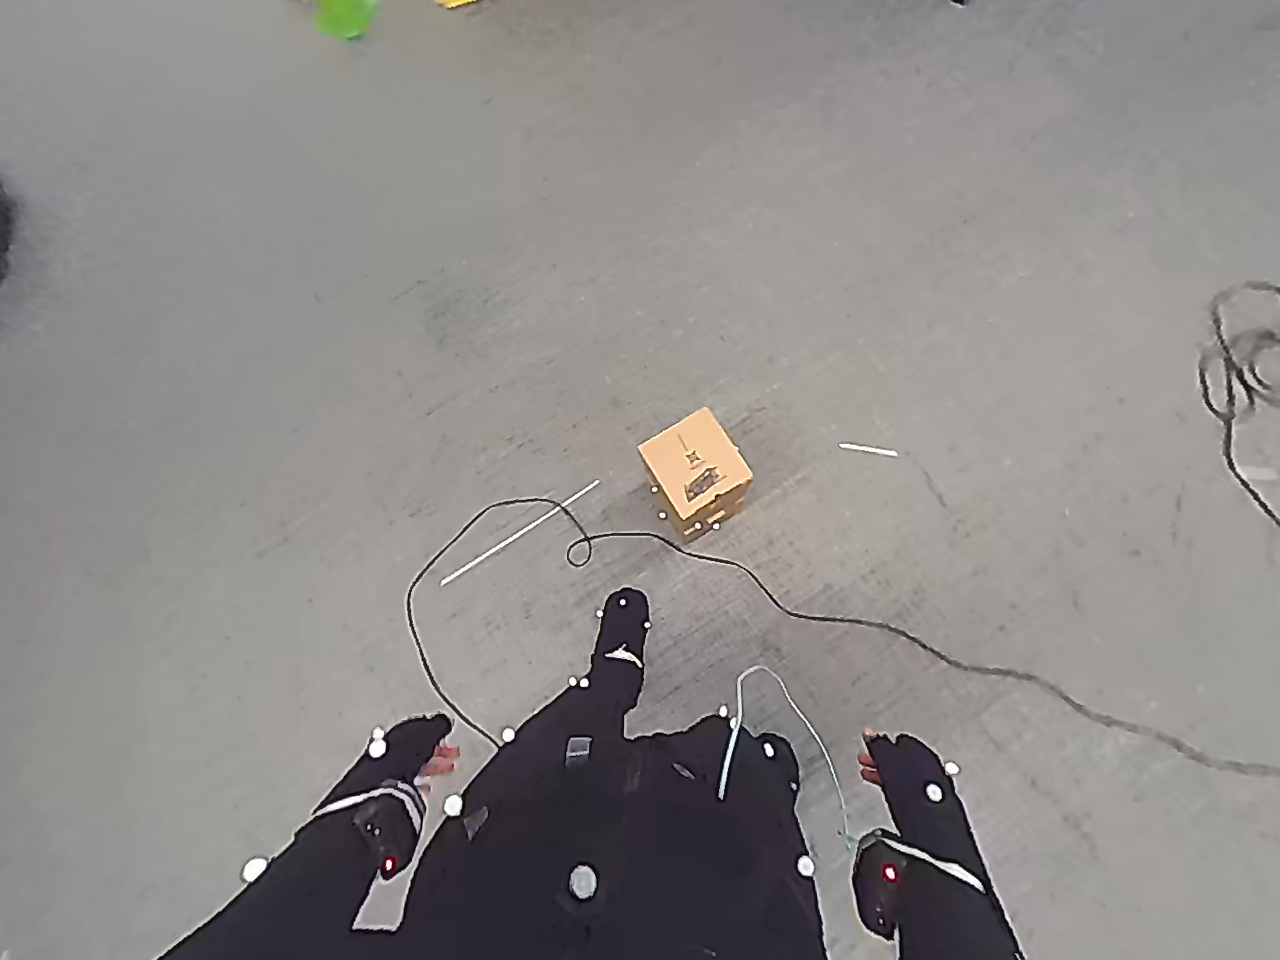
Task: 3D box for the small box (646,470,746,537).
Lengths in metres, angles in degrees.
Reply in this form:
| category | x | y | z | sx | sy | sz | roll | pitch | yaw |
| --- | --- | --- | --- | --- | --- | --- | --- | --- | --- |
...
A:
| category | x | y | z | sx | sy | sz | roll | pitch | yaw |
| --- | --- | --- | --- | --- | --- | --- | --- | --- | --- |
| small box | 0.129 | 0.024 | 1.298 | 0.168 | 0.176 | 0.179 | -34 | 78 | -6 |

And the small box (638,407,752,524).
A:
| category | x | y | z | sx | sy | sz | roll | pitch | yaw |
| --- | --- | --- | --- | --- | --- | --- | --- | --- | --- |
| small box | 0.116 | -0.019 | 1.137 | 0.168 | 0.176 | 0.179 | -31 | 76 | -2 |
